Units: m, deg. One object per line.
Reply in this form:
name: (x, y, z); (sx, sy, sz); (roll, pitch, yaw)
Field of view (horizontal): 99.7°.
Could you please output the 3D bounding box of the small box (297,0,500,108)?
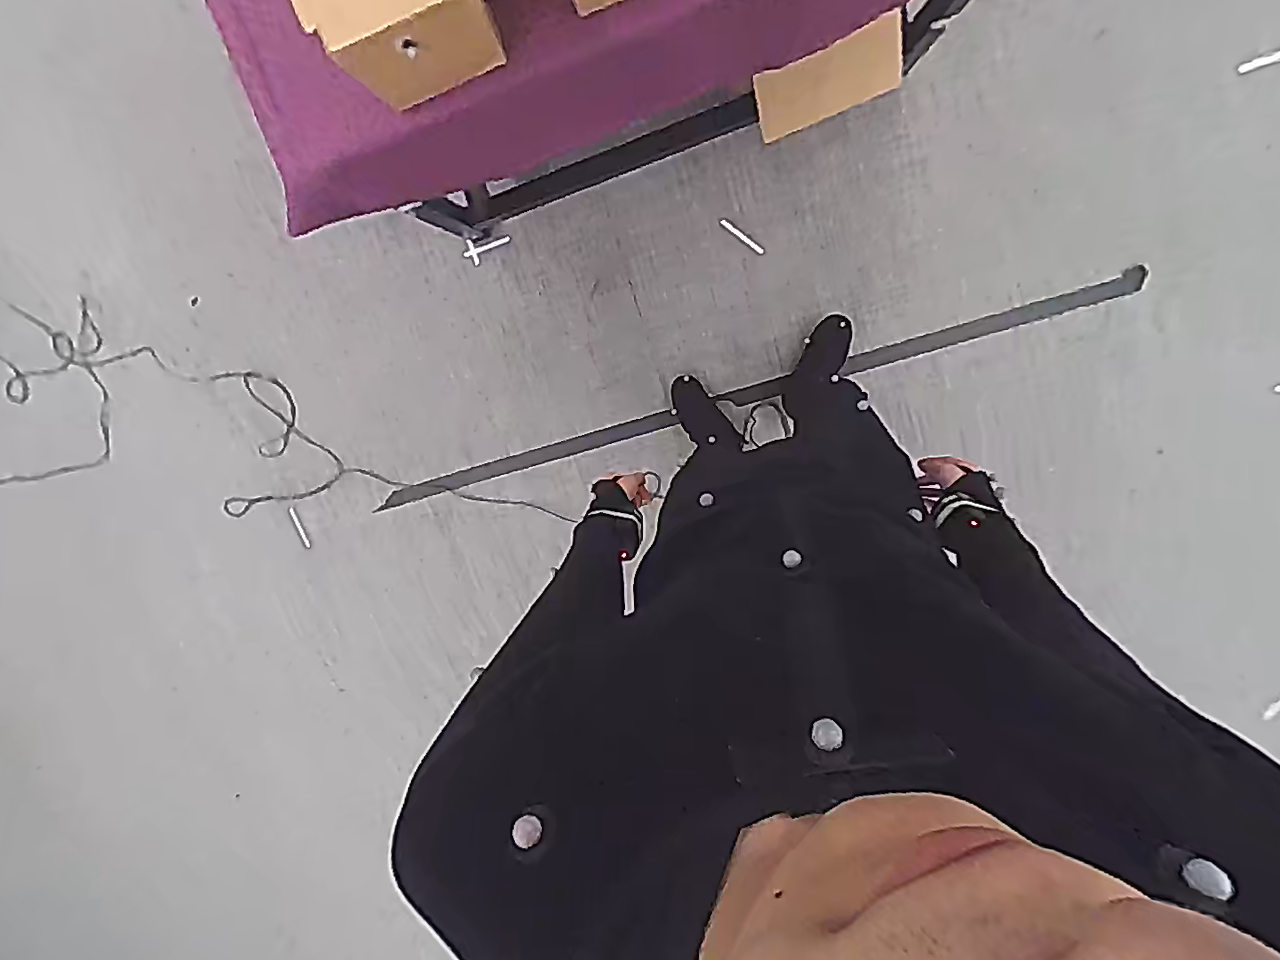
small box: (-0.298, -0.595, 0.654); (0.179, 0.176, 0.168); (-18, 104, 8)
